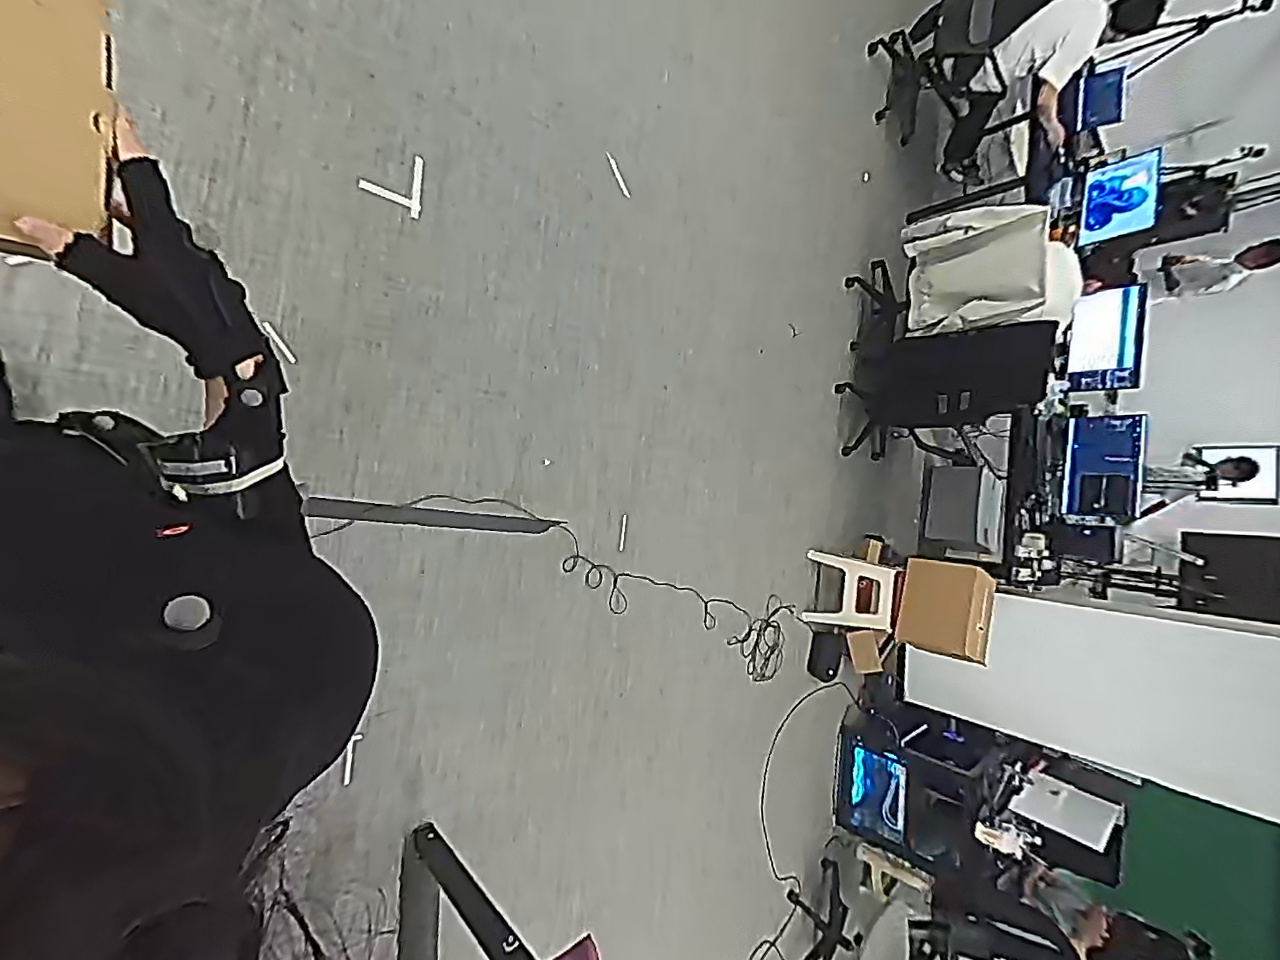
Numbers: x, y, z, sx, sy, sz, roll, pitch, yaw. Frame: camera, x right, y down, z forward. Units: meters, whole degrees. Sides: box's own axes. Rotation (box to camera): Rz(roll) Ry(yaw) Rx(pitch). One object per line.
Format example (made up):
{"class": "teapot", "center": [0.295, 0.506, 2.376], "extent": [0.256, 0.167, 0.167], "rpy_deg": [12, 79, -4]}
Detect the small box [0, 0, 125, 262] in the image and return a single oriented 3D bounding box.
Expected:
{"class": "small box", "center": [-0.446, -0.241, 0.325], "extent": [0.179, 0.176, 0.168], "rpy_deg": [1, 102, -50]}
